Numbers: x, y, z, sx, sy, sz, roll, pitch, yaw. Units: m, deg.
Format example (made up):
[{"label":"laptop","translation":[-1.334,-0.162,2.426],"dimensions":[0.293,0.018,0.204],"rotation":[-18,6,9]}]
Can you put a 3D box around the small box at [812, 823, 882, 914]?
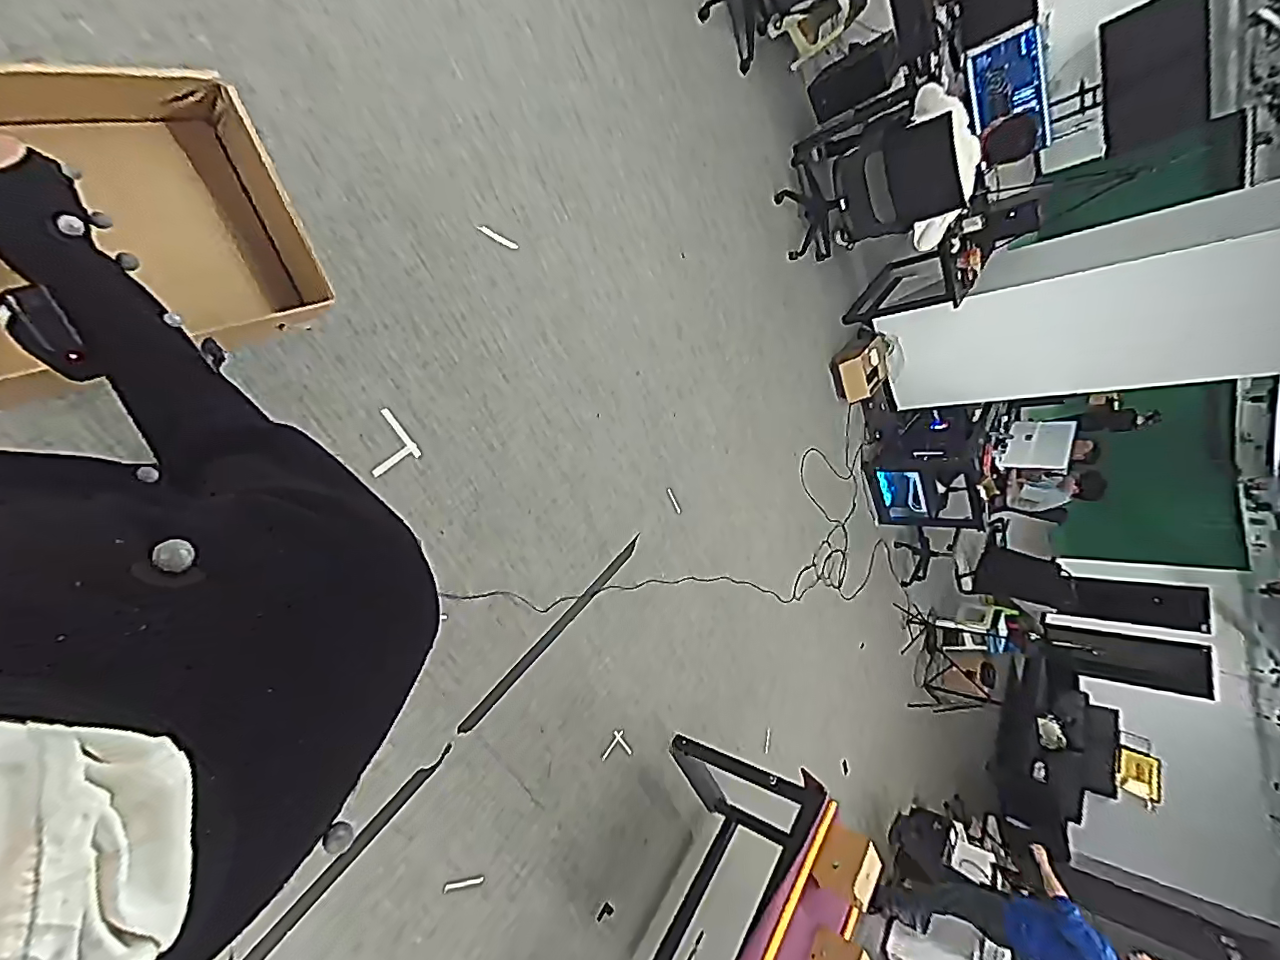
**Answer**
[{"label":"small box","translation":[0.738,1.386,1.939],"dimensions":[0.179,0.176,0.168],"rotation":[-44,119,-34]}]

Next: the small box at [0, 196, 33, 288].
[{"label":"small box","translation":[-0.844,-0.321,0.611],"dimensions":[0.168,0.176,0.179],"rotation":[-26,105,-42]}]

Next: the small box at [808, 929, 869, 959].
[{"label":"small box","translation":[0.705,1.740,1.901],"dimensions":[0.168,0.176,0.179],"rotation":[-44,117,-37]}]
